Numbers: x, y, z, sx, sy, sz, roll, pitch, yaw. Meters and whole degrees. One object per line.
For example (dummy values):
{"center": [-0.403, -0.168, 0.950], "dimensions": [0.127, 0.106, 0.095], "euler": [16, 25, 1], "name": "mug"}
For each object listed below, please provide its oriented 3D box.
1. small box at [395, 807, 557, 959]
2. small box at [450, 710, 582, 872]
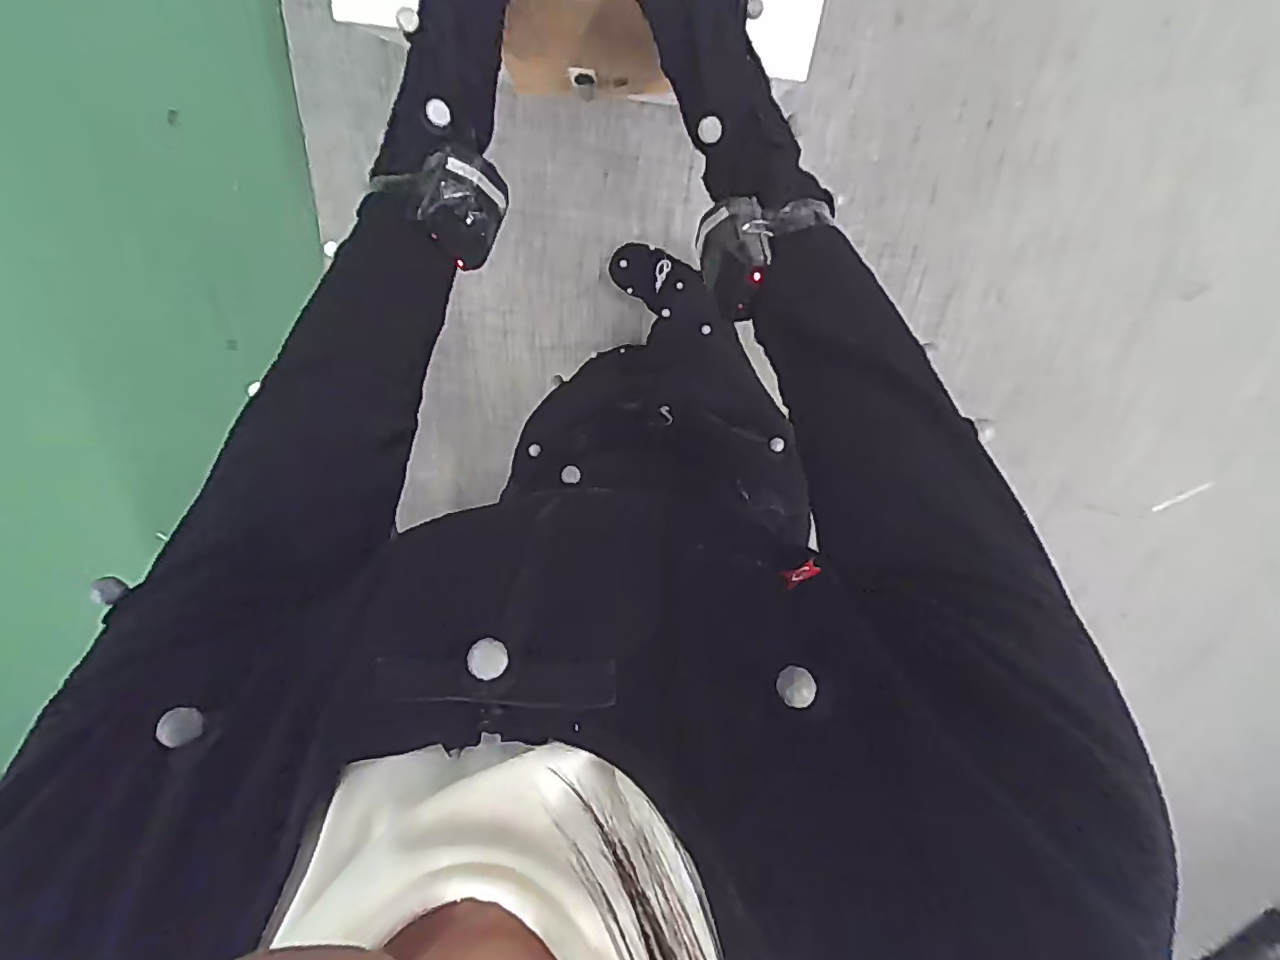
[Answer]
{"center": [-0.218, 0.600, 0.763], "dimensions": [0.168, 0.176, 0.179], "euler": [10, 124, 1], "name": "small box"}
{"center": [-0.198, 0.512, 0.901], "dimensions": [0.179, 0.176, 0.168], "euler": [10, 122, 0], "name": "small box"}
